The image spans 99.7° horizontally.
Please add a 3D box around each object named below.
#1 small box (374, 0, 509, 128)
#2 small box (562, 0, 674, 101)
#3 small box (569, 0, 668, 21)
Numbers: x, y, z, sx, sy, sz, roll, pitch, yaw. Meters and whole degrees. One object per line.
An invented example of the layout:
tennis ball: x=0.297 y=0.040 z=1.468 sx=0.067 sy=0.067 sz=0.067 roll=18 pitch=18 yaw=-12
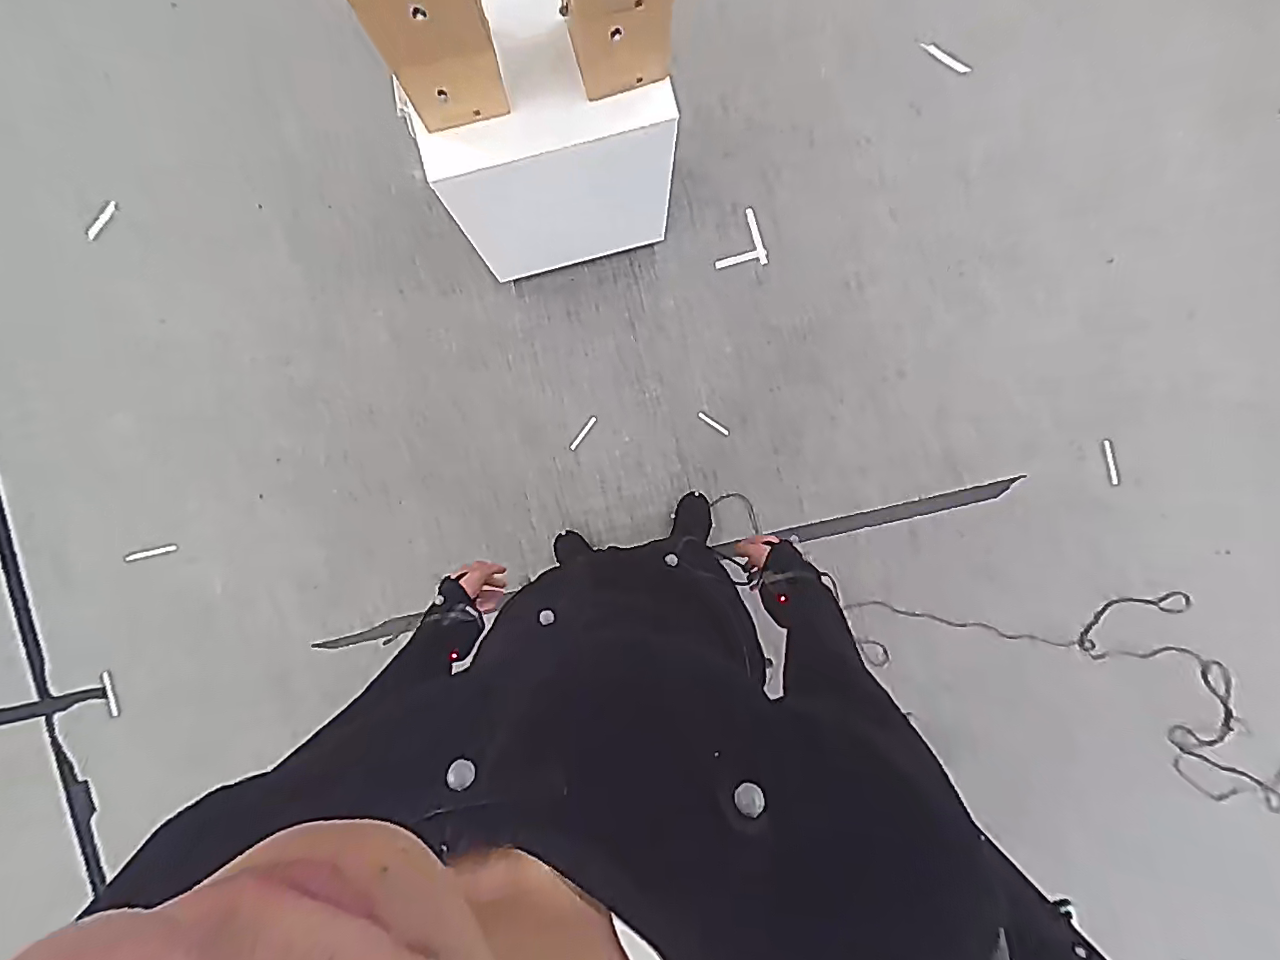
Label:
small box: x=-0.346 y=-0.767 z=0.964 sx=0.168 sy=0.176 sz=0.179 roll=-14 pitch=90 yaw=0
small box: x=-0.045 y=-0.832 z=0.961 sx=0.168 sy=0.176 sz=0.179 roll=-17 pitch=90 yaw=1
small box: x=-0.046 y=-0.831 z=0.796 sx=0.168 sy=0.176 sz=0.179 roll=-16 pitch=91 yaw=1
